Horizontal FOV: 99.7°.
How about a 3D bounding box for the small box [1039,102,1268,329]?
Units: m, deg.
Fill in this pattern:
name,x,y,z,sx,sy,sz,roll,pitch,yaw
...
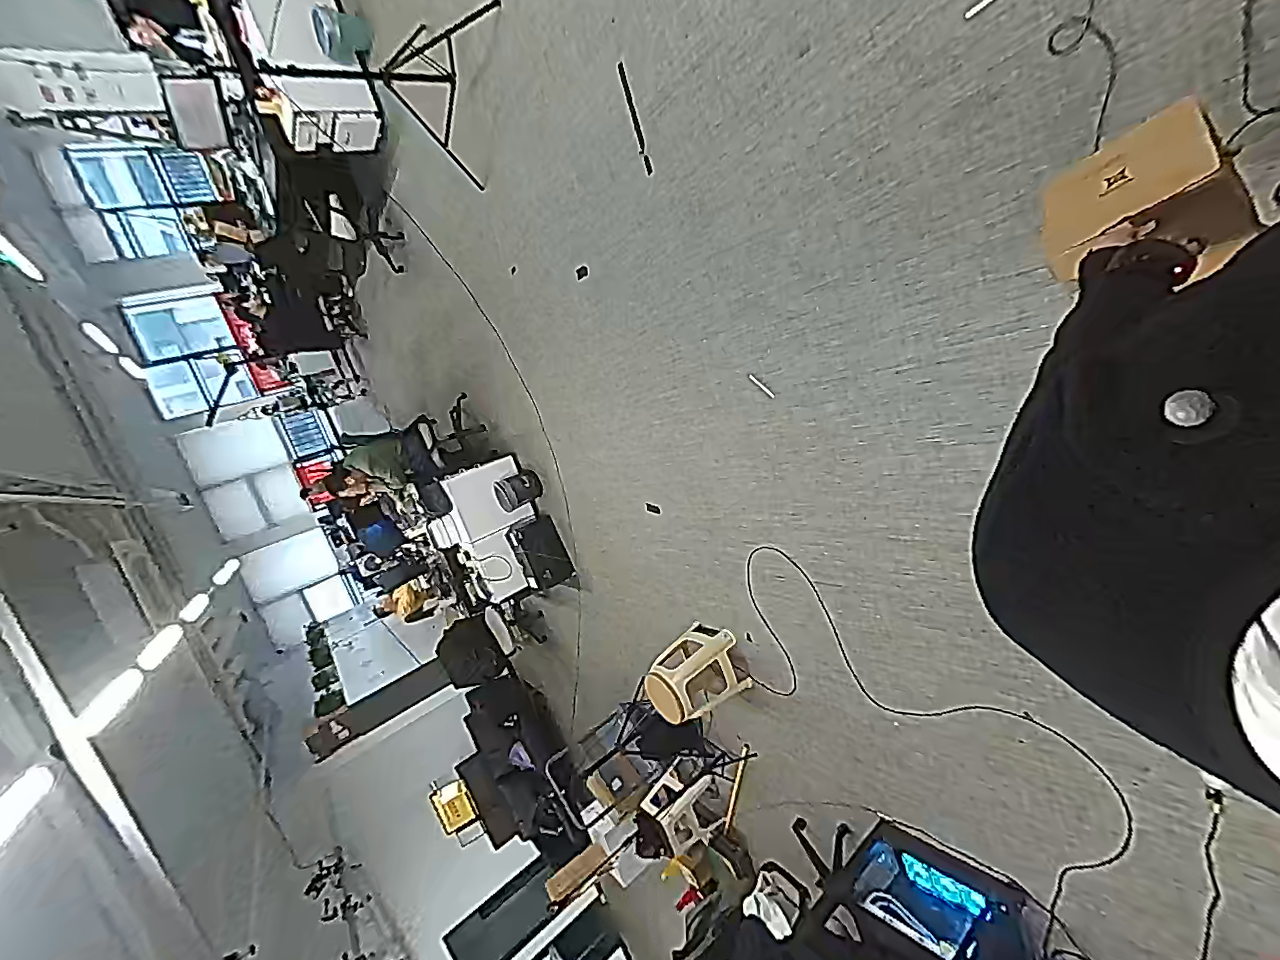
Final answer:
name,x,y,z,sx,sy,sz,roll,pitch,yaw
small box,0.652,-0.322,0.699,0.176,0.179,0.168,35,148,-21
